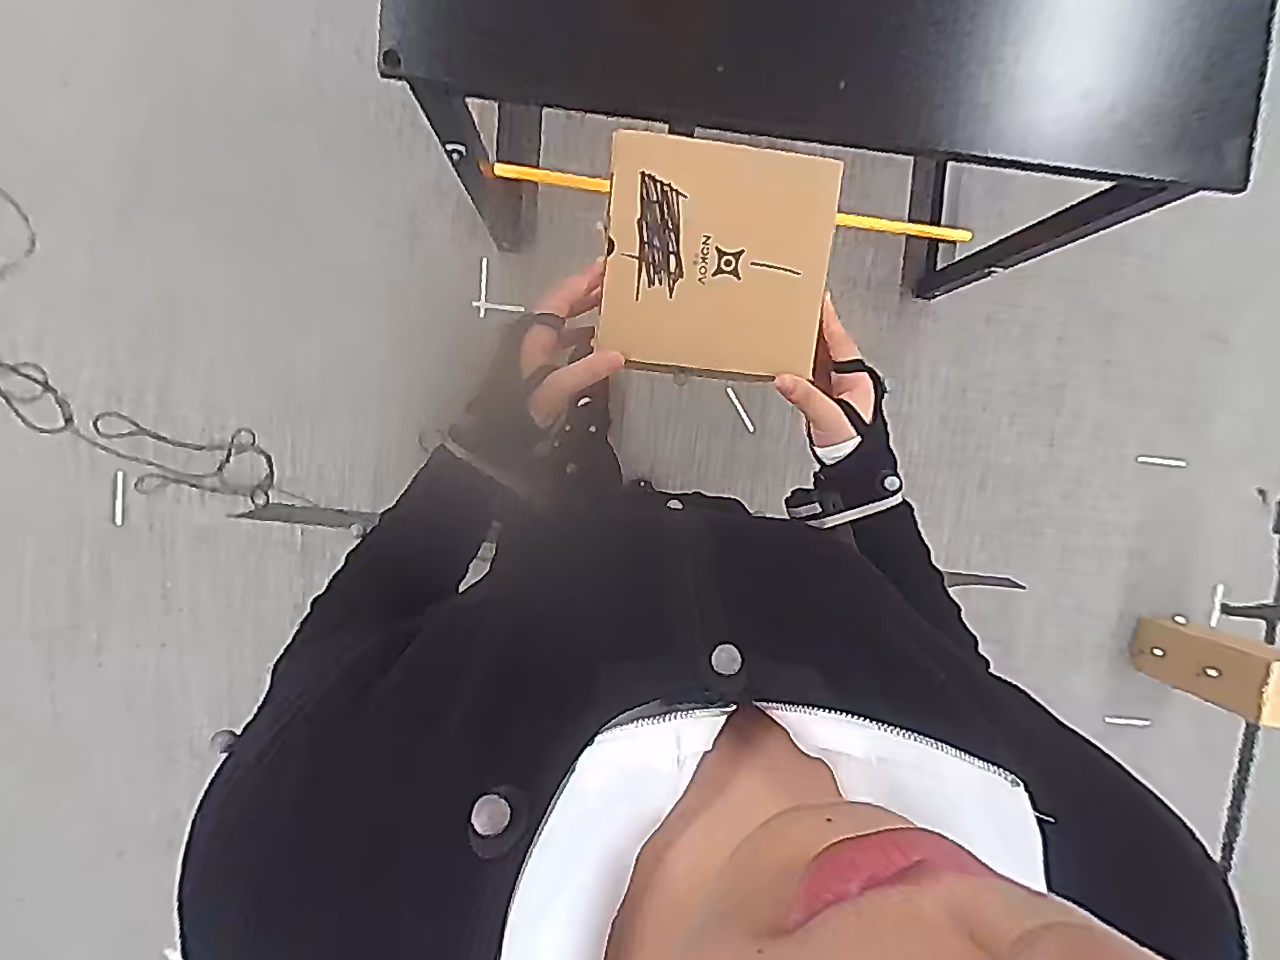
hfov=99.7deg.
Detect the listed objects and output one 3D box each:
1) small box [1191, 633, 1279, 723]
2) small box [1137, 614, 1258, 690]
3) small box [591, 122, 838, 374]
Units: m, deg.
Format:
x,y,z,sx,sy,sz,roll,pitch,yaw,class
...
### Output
x,y,z,sx,sy,sz,roll,pitch,yaw,class
1.599,0.507,1.391,0.179,0.176,0.168,7,95,-4,small box
1.595,0.495,1.557,0.179,0.176,0.168,5,95,-3,small box
0.051,-0.188,0.493,0.179,0.176,0.168,5,99,-5,small box
